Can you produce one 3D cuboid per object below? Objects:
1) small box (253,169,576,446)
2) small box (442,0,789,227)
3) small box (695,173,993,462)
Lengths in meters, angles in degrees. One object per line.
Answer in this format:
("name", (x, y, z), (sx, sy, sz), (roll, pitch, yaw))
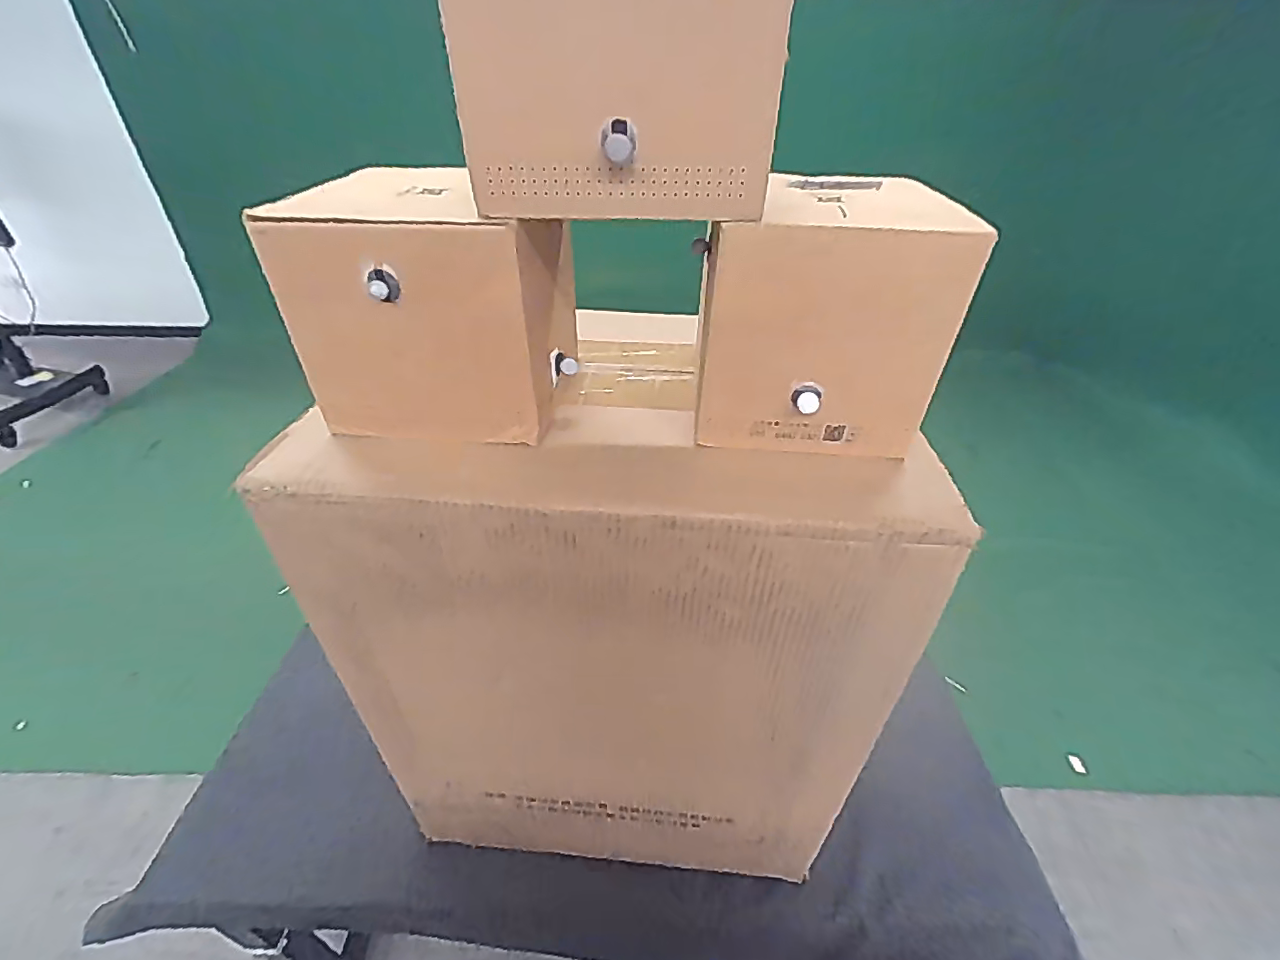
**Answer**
("small box", (-0.153, -0.142, 0.444), (0.179, 0.176, 0.168), (5, 40, 2))
("small box", (-0.010, -0.267, 0.338), (0.179, 0.176, 0.168), (1, 40, 0))
("small box", (0.134, -0.137, 0.440), (0.168, 0.176, 0.179), (4, 40, 3))
